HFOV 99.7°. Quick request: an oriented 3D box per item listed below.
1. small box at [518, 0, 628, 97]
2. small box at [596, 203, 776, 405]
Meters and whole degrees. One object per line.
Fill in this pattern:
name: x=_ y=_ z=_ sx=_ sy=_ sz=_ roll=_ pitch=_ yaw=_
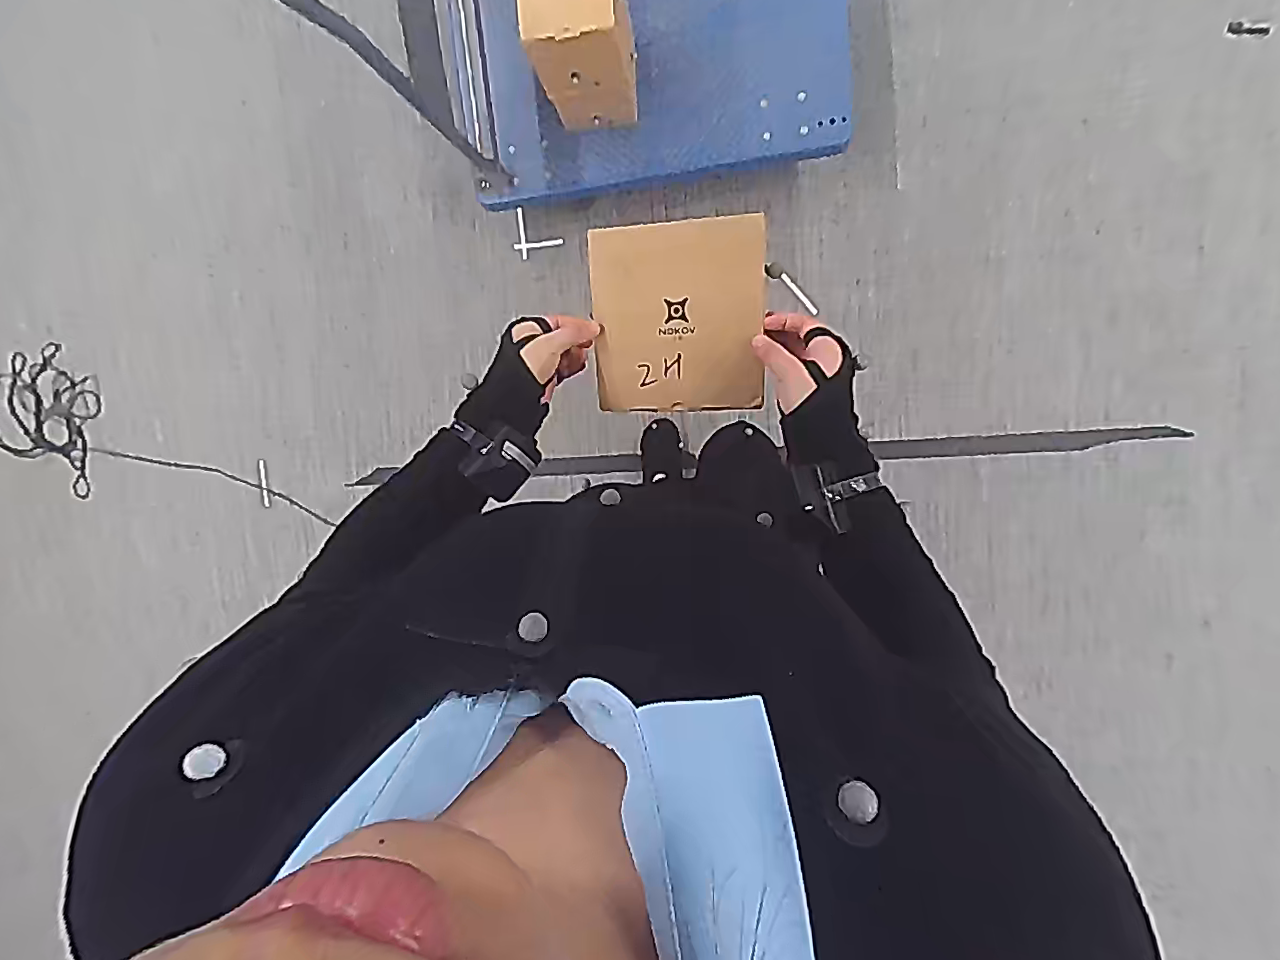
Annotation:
small box: x=-0.117 y=-0.837 z=0.973 sx=0.168 sy=0.176 sz=0.179 roll=-3 pitch=97 yaw=7
small box: x=0.057 y=-0.180 z=0.582 sx=0.168 sy=0.176 sz=0.179 roll=1 pitch=106 yaw=13
